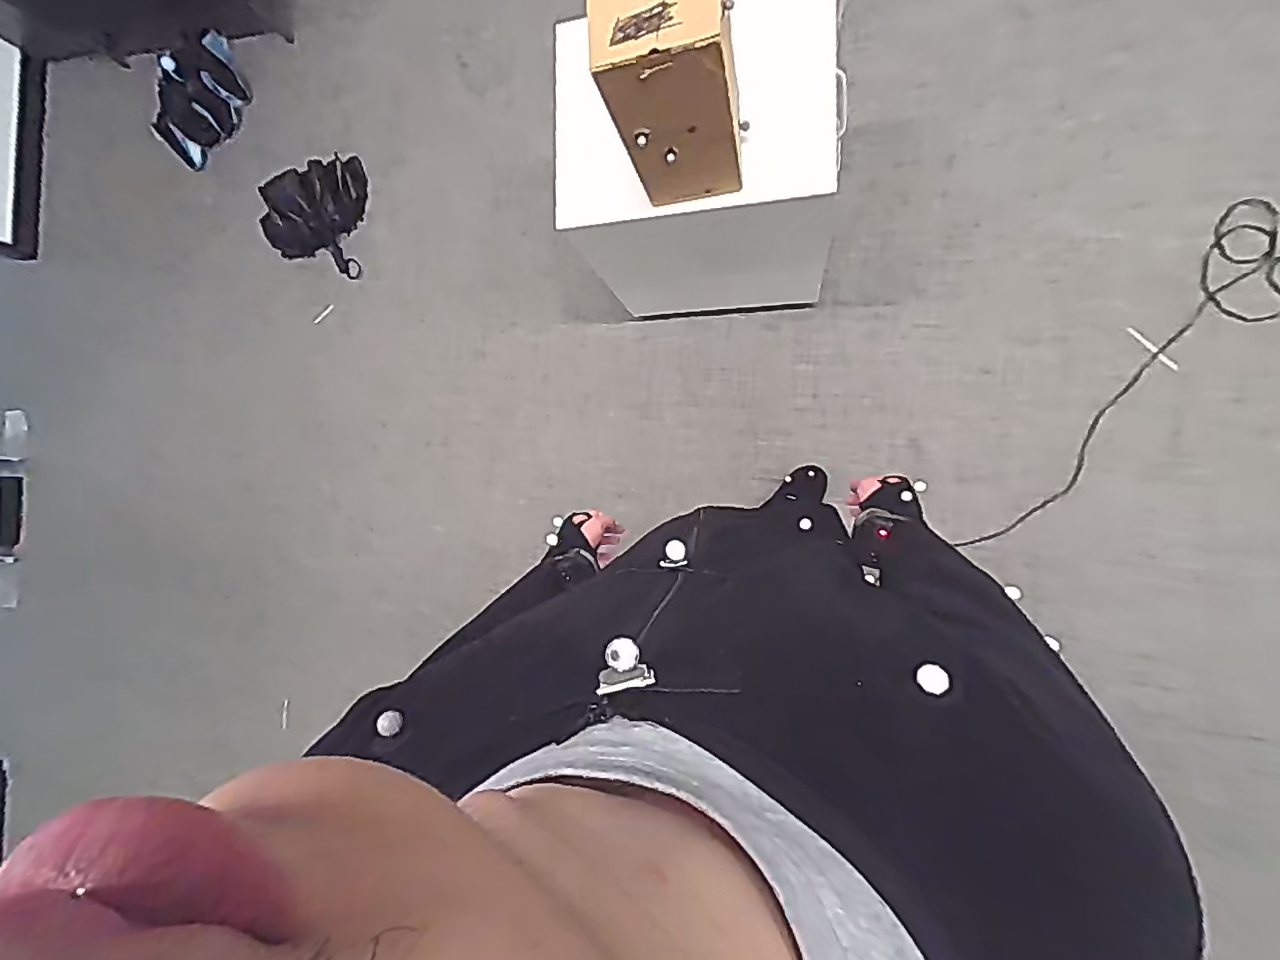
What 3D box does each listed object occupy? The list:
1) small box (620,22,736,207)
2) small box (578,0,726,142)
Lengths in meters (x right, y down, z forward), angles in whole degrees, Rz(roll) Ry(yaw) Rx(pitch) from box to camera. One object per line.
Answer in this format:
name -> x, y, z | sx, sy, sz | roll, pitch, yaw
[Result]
small box -> 0.065, -0.587, 0.886 | 0.168, 0.176, 0.179 | -4, 87, 15
small box -> 0.023, -0.591, 0.727 | 0.168, 0.176, 0.179 | -3, 87, 14
